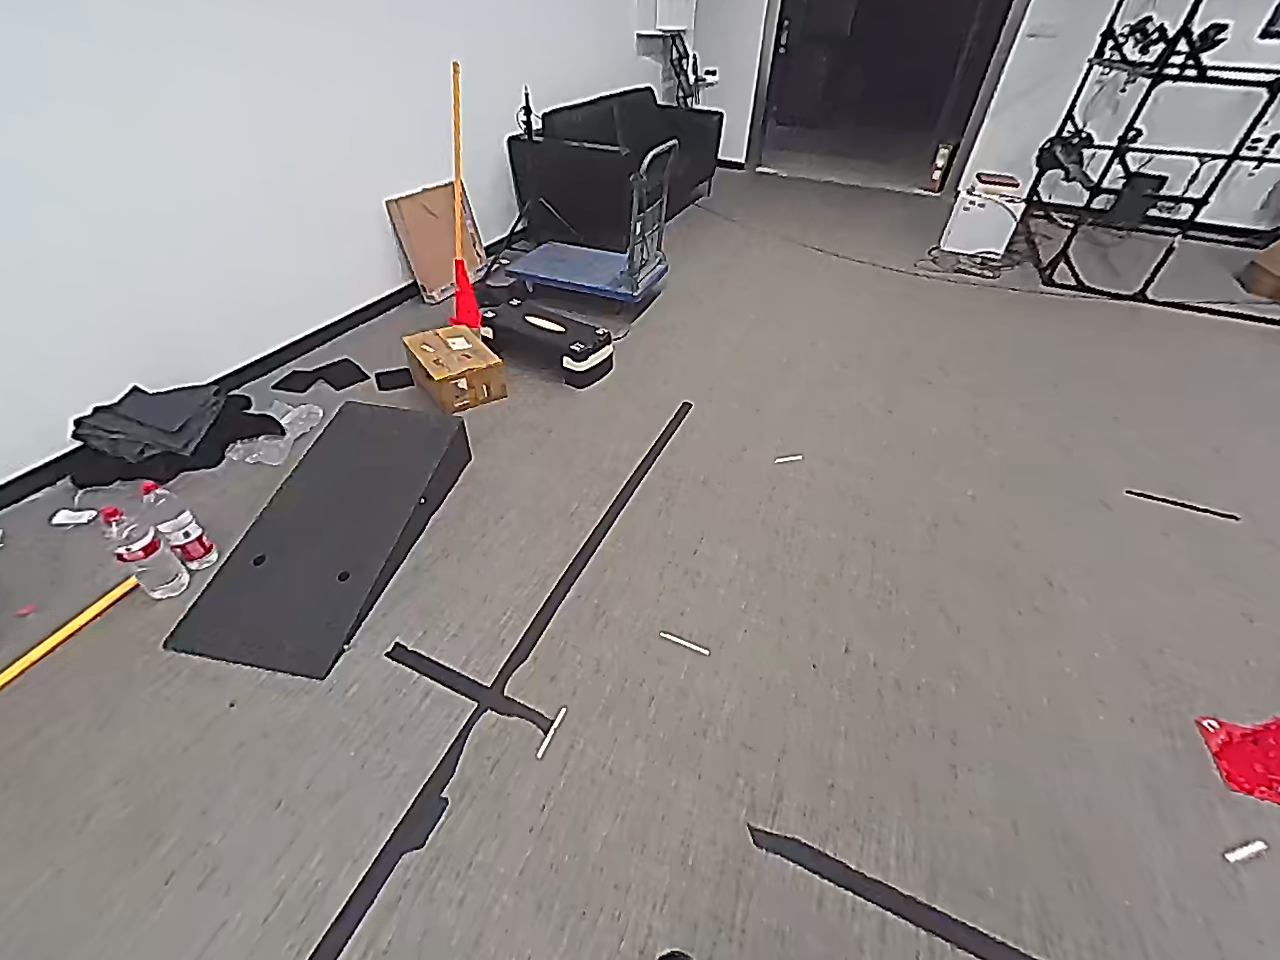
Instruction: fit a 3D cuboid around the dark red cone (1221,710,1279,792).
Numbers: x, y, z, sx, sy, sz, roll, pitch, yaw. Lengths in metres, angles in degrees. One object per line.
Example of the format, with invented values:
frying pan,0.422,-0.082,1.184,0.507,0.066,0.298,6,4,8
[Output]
dark red cone,1.590,0.566,1.227,0.202,0.394,0.201,13,43,11
